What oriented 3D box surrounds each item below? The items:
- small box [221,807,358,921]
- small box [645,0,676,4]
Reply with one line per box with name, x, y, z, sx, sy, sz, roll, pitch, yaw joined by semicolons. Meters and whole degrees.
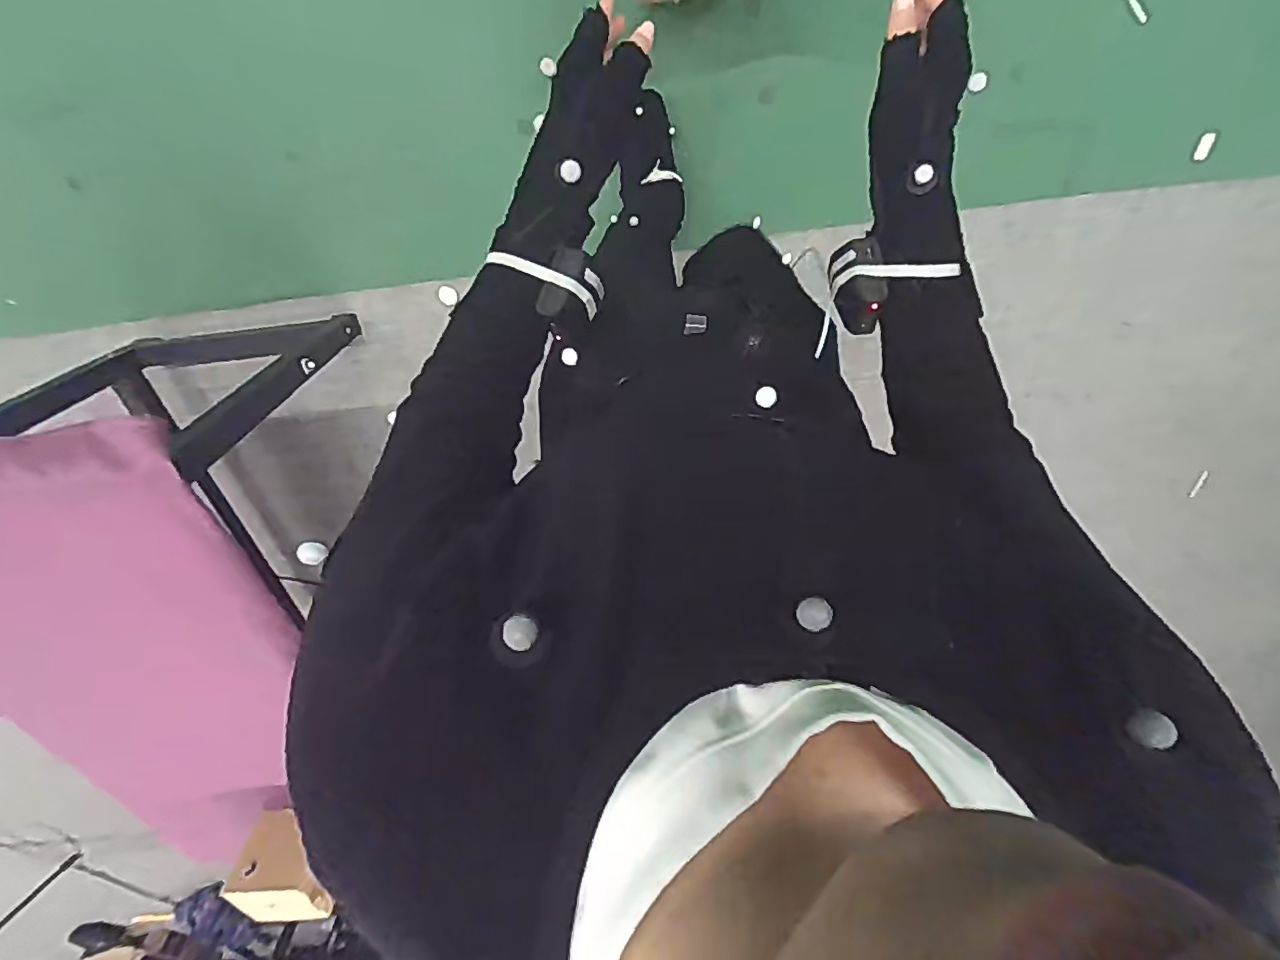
small box;-0.793;0.880;1.243;0.179;0.176;0.168;-5;124;2
small box;0.073;-0.928;0.899;0.168;0.176;0.179;-5;125;3
